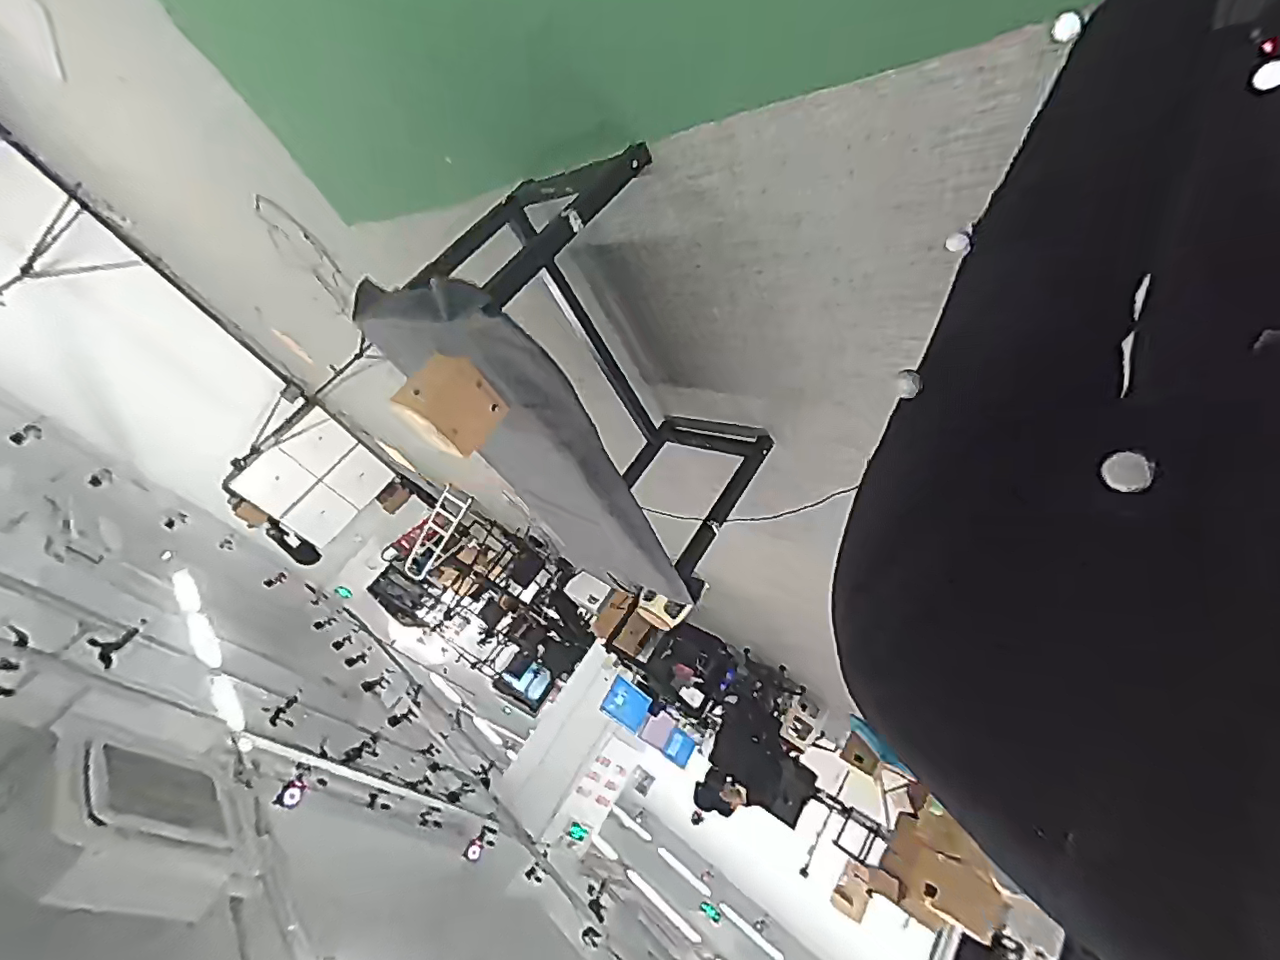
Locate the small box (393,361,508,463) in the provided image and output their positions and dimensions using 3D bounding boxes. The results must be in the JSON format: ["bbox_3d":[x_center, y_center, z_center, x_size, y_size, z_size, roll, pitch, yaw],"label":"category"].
[{"bbox_3d":[-0.446,-0.169,1.298,0.179,0.176,0.168,19,153,44],"label":"small box"}]
